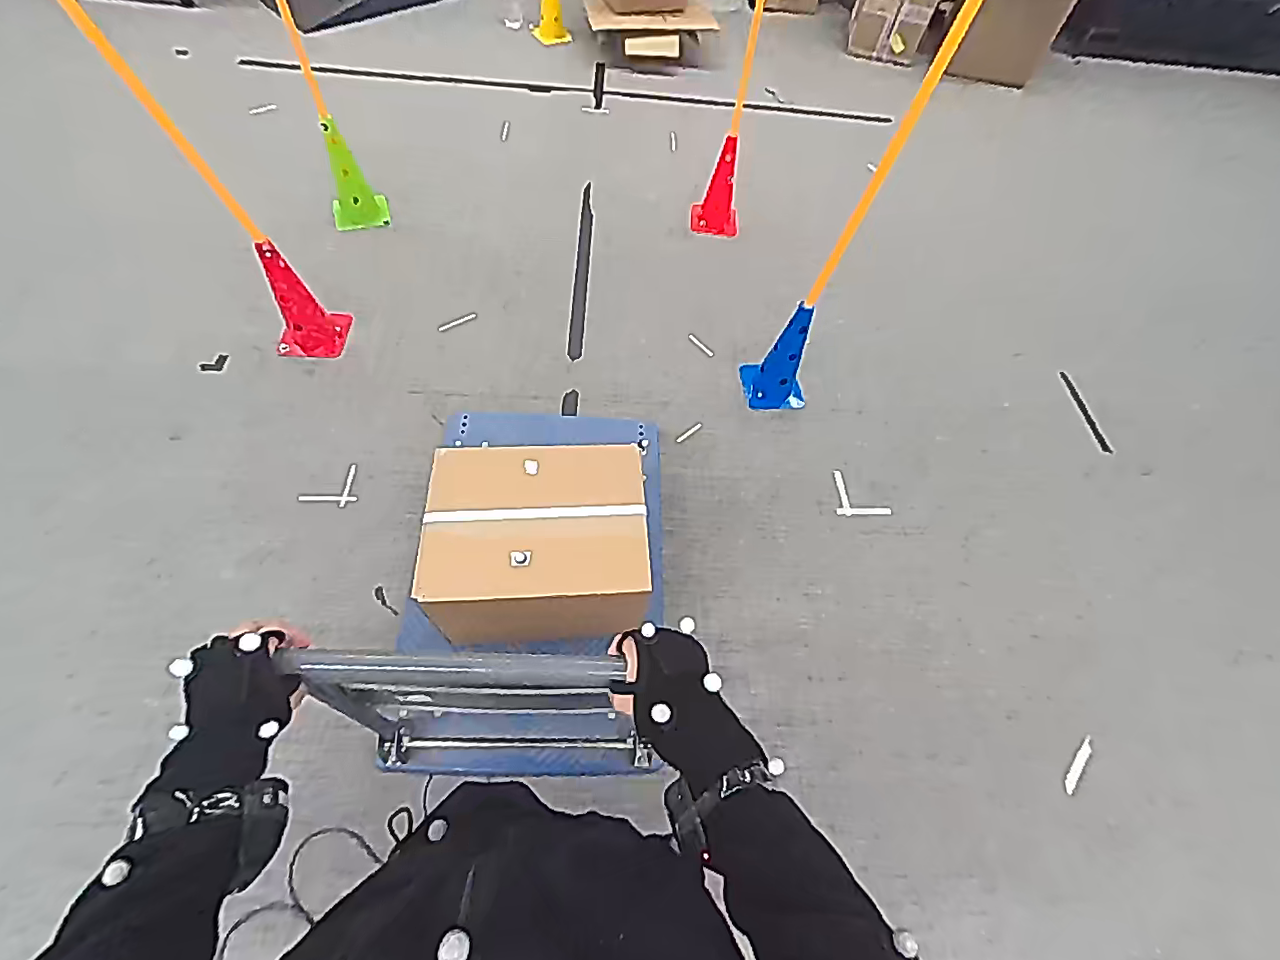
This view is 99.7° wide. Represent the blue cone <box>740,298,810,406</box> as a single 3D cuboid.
[{"bbox_3d":[0.468,-0.416,1.738,0.193,0.380,0.192,-1,58,-7],"label":"blue cone"}]

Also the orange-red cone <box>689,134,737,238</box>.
[{"bbox_3d":[0.332,-1.202,2.178,0.199,0.360,0.198,8,59,-2],"label":"orange-red cone"}]
